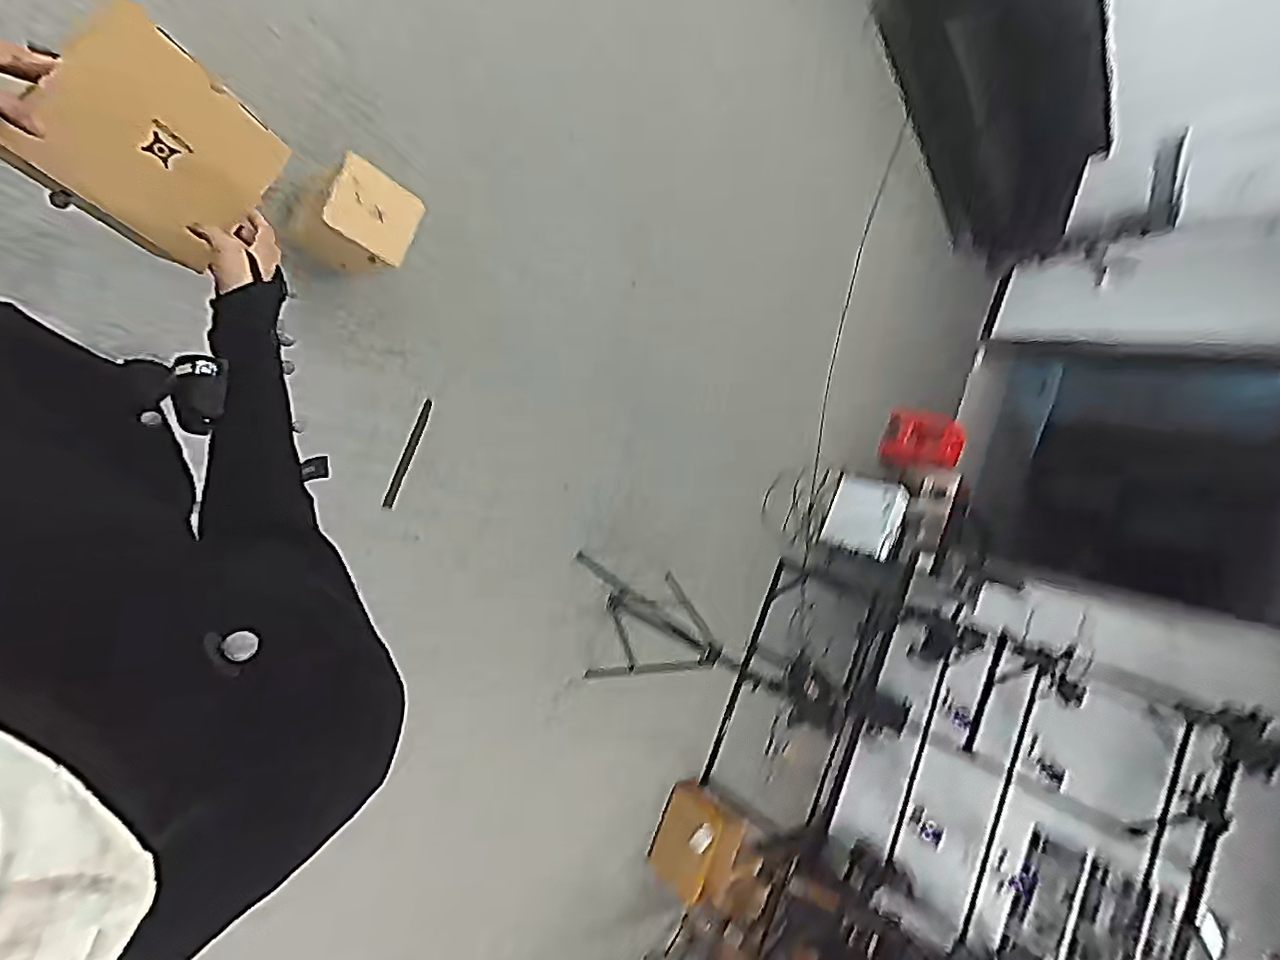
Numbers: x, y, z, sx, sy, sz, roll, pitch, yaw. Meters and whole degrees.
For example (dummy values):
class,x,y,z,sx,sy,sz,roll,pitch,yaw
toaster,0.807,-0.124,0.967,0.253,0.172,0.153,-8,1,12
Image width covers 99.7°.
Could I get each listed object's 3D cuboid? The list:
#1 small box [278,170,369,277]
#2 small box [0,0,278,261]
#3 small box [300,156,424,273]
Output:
class,x,y,z,sx,sy,sz,roll,pitch,yaw
small box,-0.756,-0.624,1.341,0.179,0.176,0.168,27,79,-46
small box,-0.529,-0.355,0.556,0.179,0.176,0.168,-63,146,-9
small box,-0.635,-0.592,1.234,0.179,0.176,0.168,27,80,-45
